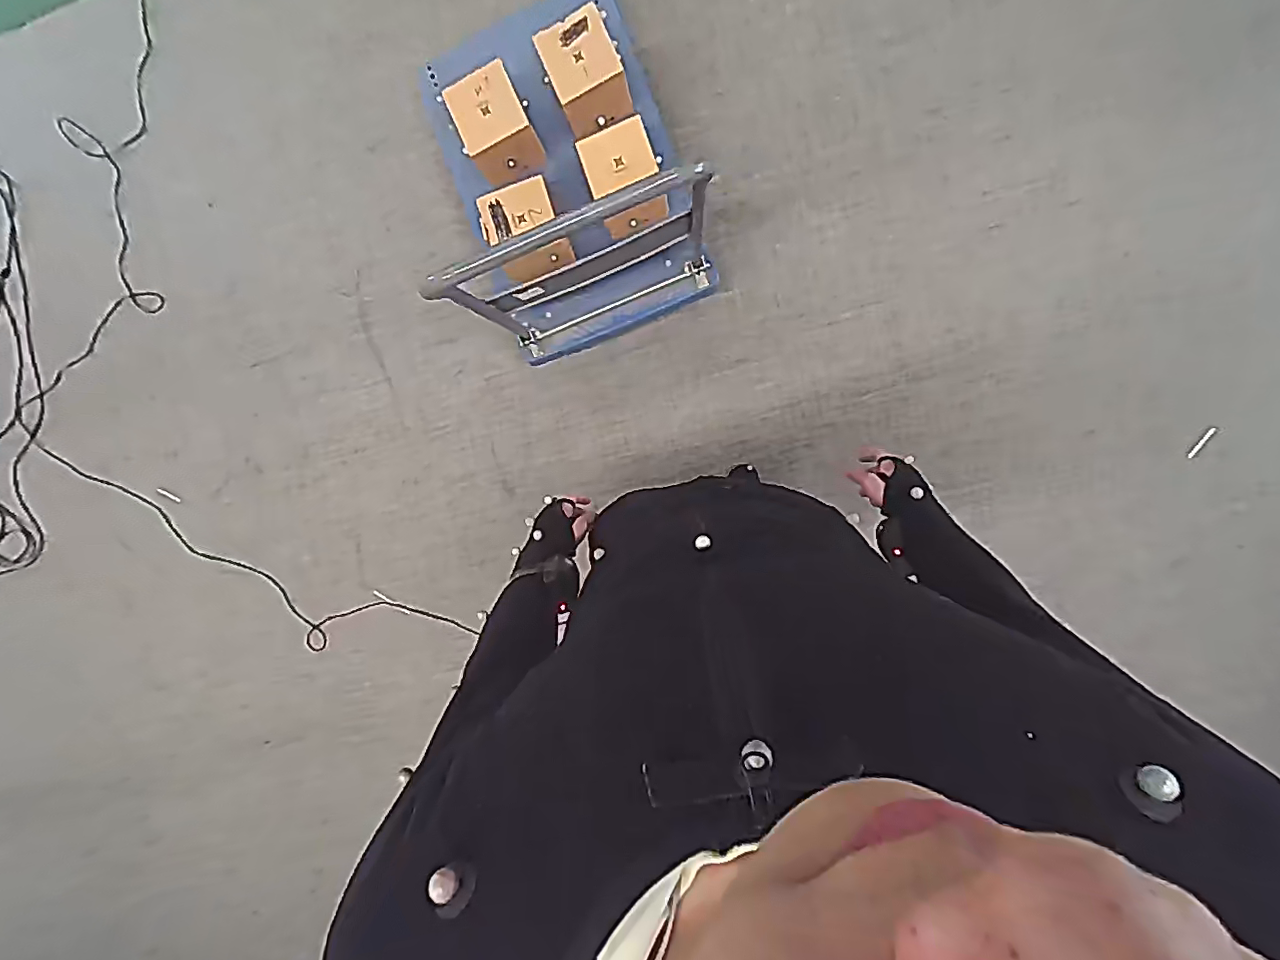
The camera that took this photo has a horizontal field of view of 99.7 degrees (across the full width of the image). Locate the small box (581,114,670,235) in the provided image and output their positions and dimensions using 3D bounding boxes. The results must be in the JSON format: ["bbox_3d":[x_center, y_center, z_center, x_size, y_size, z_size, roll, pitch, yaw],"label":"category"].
[{"bbox_3d":[-0.030,-0.746,1.340,0.168,0.176,0.179,-19,92,8],"label":"small box"}]

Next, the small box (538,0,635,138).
[{"bbox_3d":[-0.125,-0.999,1.332,0.168,0.176,0.179,-24,92,9],"label":"small box"}]

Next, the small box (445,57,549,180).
[{"bbox_3d":[-0.352,-0.897,1.368,0.168,0.176,0.179,-24,91,7],"label":"small box"}]
